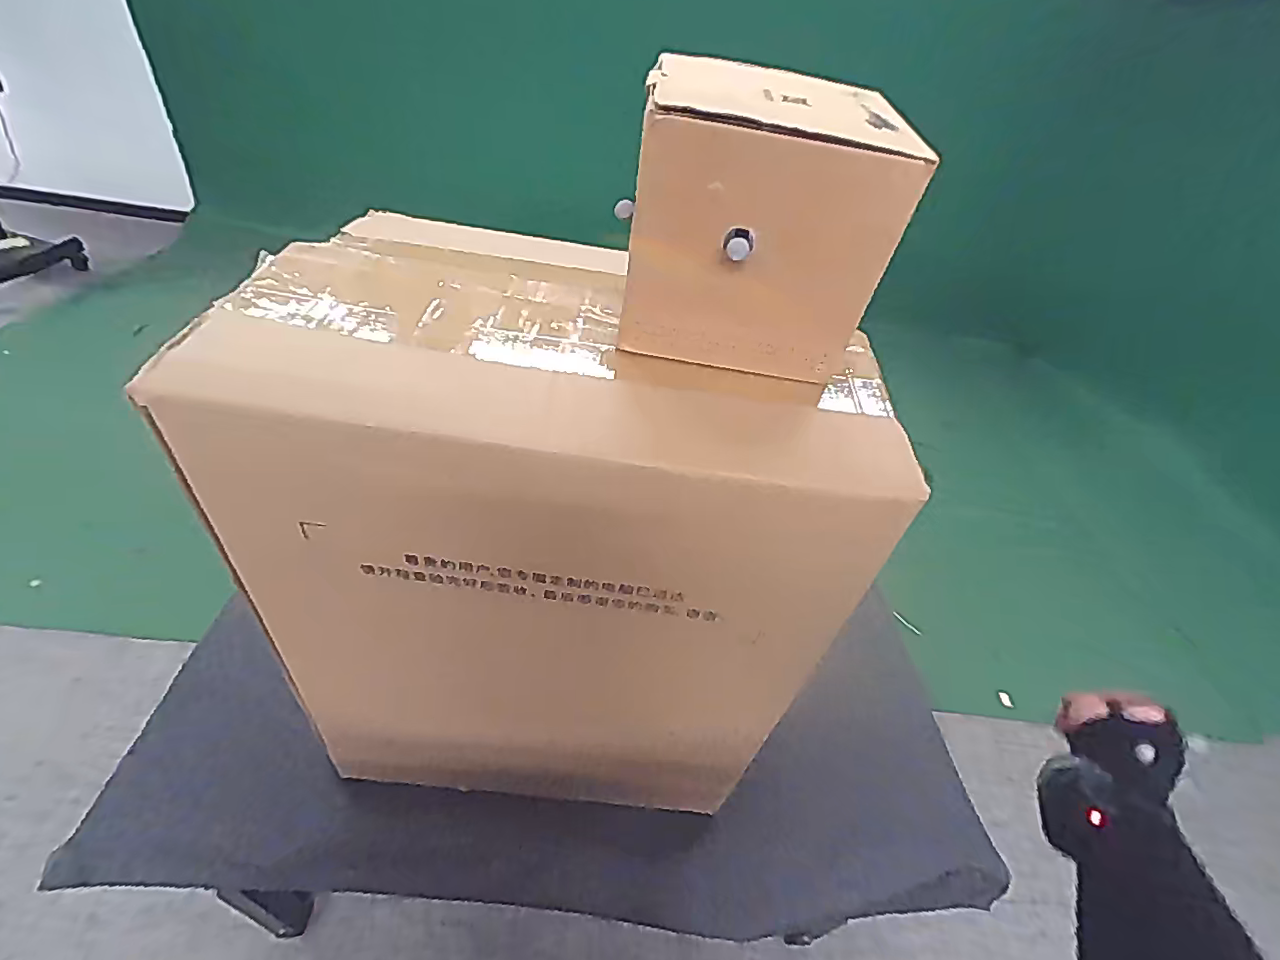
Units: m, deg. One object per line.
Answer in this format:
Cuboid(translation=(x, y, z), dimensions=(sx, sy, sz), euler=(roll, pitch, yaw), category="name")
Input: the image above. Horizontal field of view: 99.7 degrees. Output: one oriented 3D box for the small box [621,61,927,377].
Cuboid(translation=(0.083, -0.201, 0.428), dimensions=(0.179, 0.176, 0.168), euler=(9, 47, -2), category="small box")
